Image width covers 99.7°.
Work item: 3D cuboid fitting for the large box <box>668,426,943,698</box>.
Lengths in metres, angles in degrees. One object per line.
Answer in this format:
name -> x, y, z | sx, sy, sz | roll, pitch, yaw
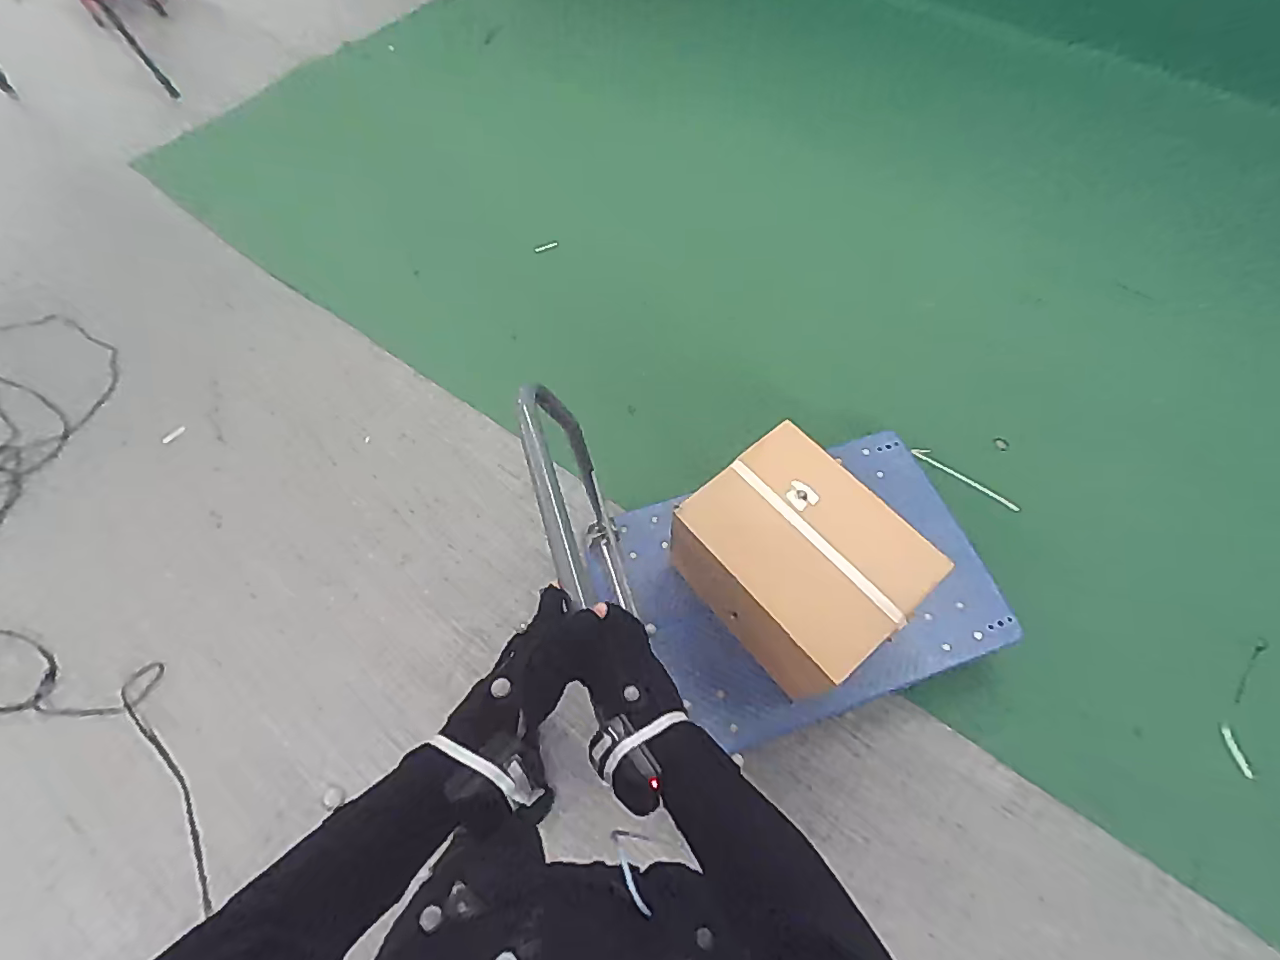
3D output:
large box -> 0.301, 0.176, 1.114 | 0.320, 0.320, 0.408 | -36, 67, -15
